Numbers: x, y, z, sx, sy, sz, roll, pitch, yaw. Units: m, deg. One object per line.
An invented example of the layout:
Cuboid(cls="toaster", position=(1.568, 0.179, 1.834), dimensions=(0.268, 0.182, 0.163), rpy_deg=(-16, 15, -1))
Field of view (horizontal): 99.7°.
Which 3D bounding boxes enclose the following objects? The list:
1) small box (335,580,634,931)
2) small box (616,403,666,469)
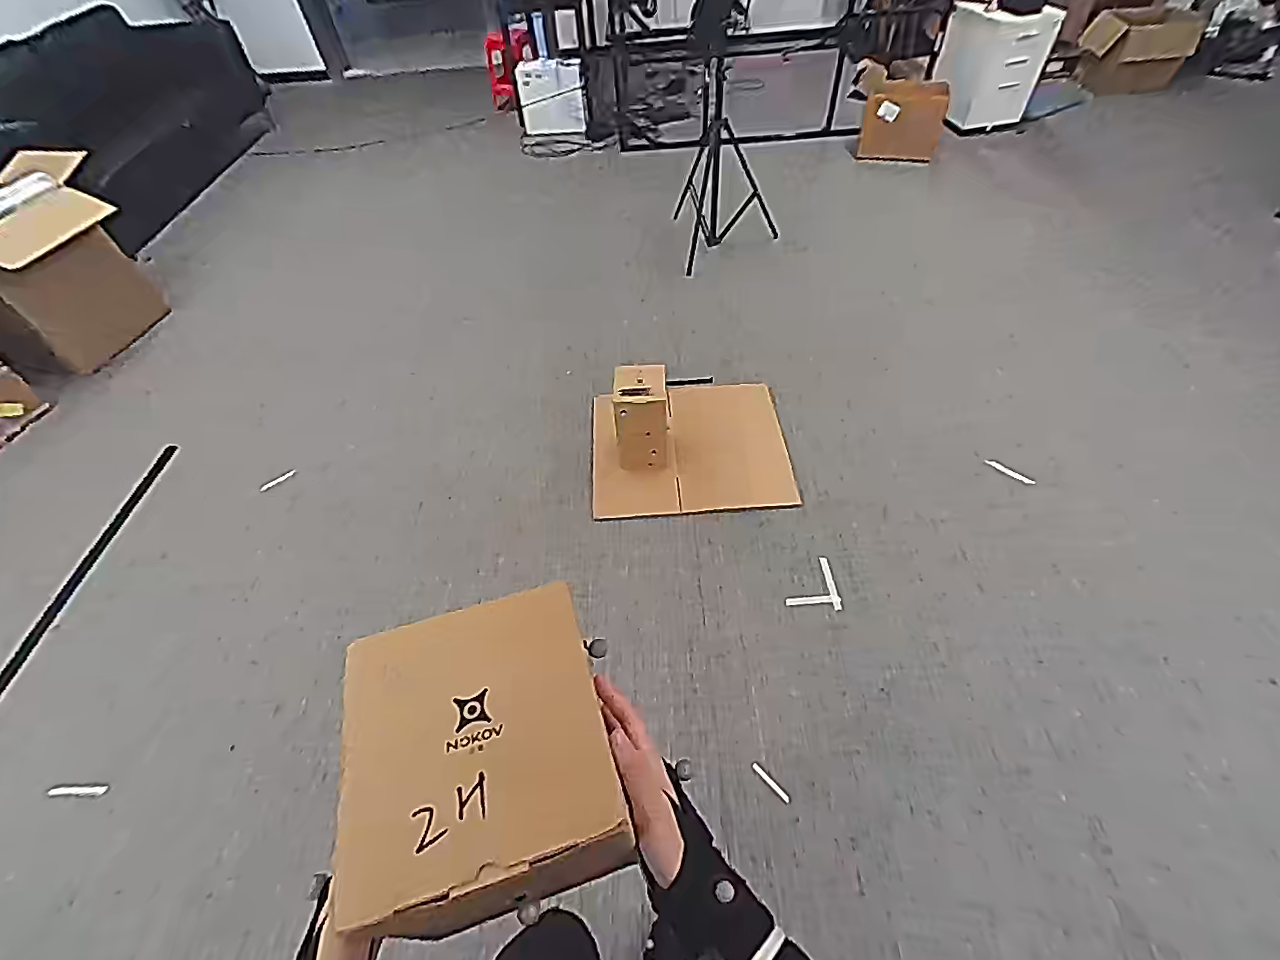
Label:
Cuboid(cls="small box", position=(-0.107, 0.210, 0.415), dimensions=(0.168, 0.176, 0.179), rpy_deg=(-15, 51, -10))
Cuboid(cls="small box", position=(0.009, -0.154, 1.913), dimensions=(0.168, 0.176, 0.179), rpy_deg=(0, 51, 2))
